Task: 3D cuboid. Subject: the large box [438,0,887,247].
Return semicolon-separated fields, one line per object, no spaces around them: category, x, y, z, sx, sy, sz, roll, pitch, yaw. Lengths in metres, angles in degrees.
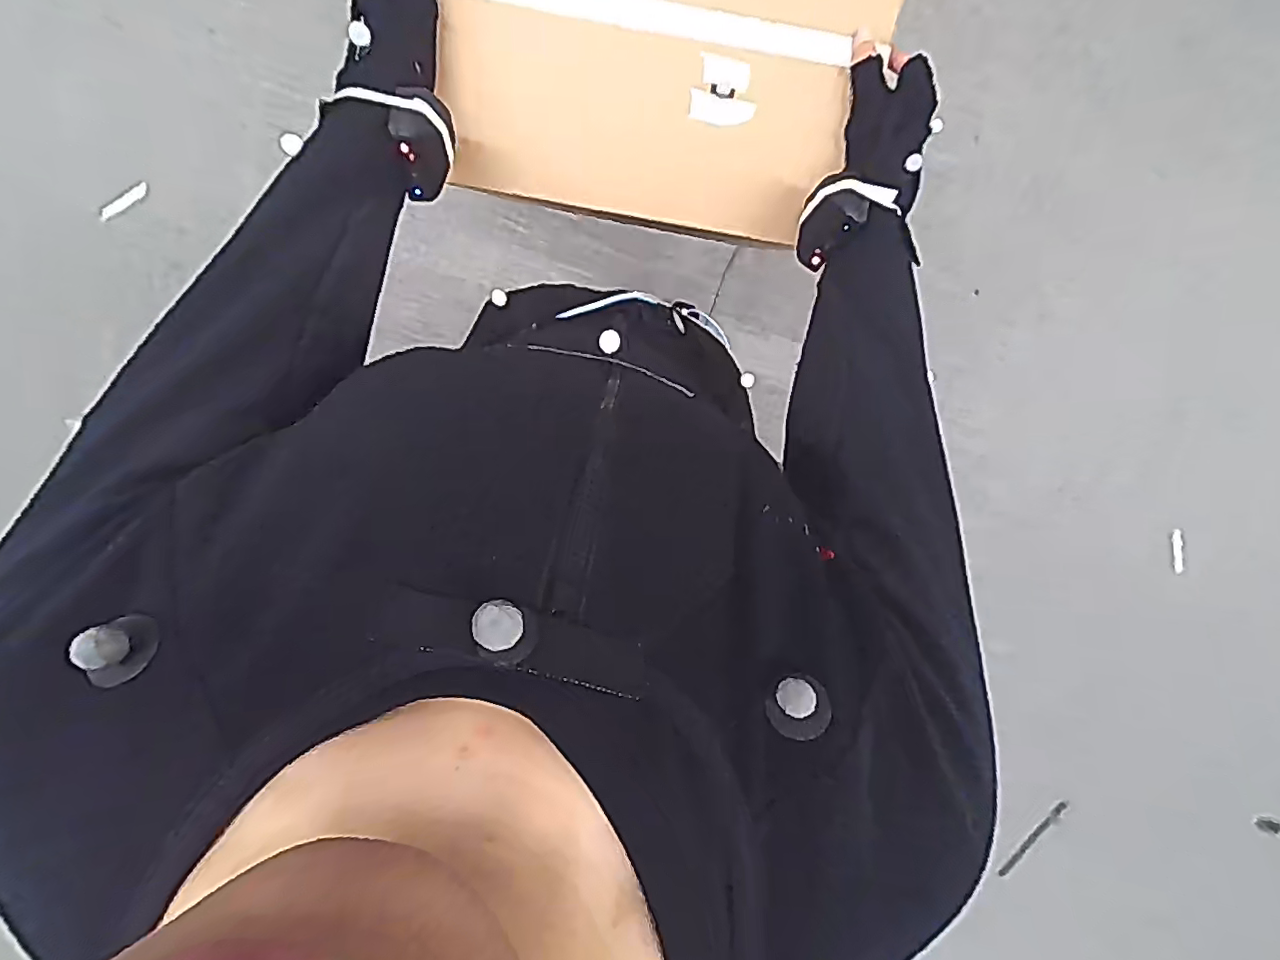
large box;0.016;-0.463;0.627;0.408;0.320;0.320;8;114;-3
